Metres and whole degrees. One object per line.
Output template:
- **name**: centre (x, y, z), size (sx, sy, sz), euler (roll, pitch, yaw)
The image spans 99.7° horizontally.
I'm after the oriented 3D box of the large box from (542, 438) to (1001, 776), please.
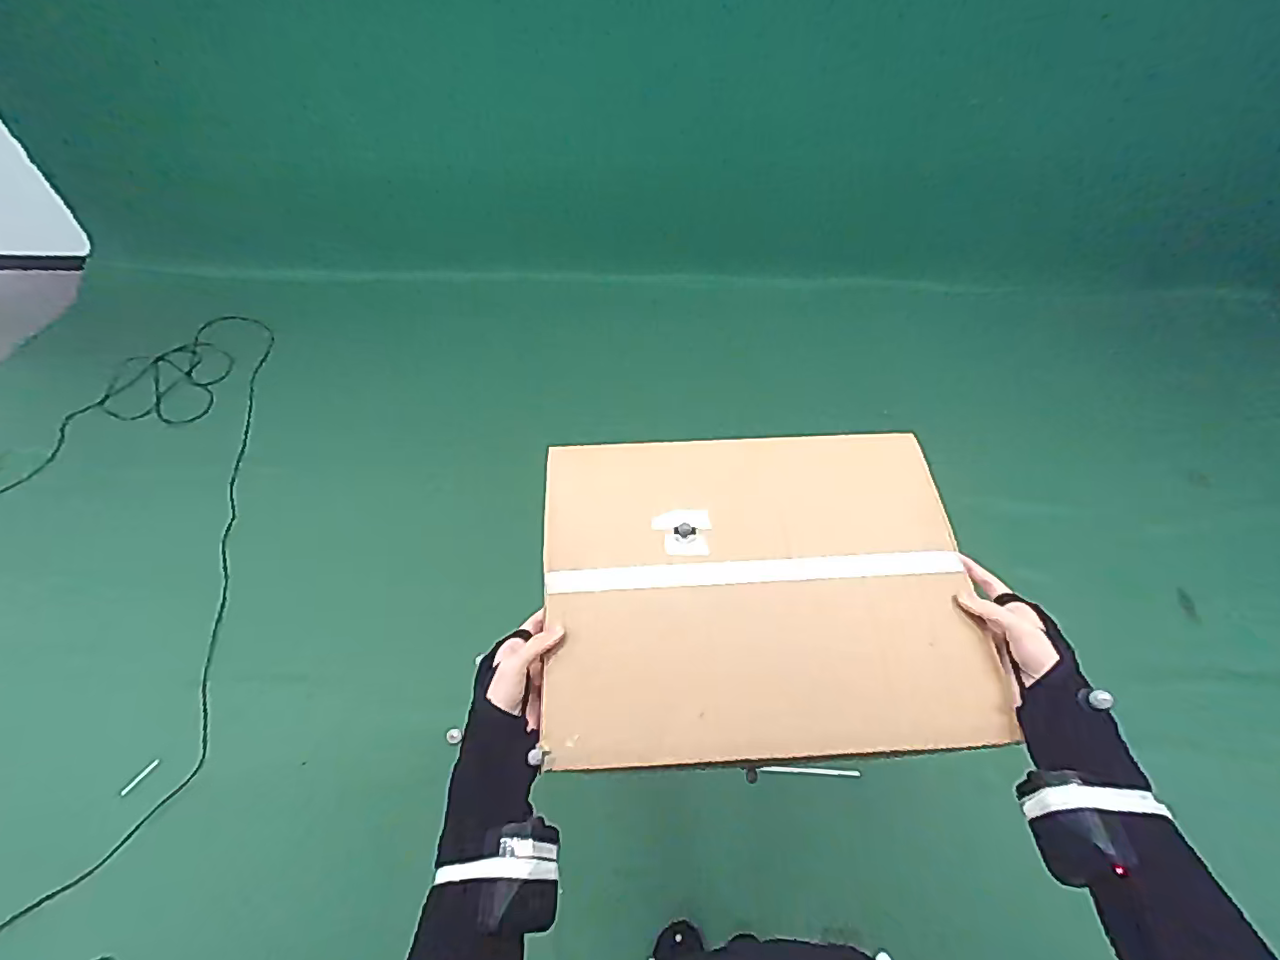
- **large box**: centre (0.108, 0.171, 0.660), size (0.408, 0.320, 0.320), euler (-3, 60, -1)
